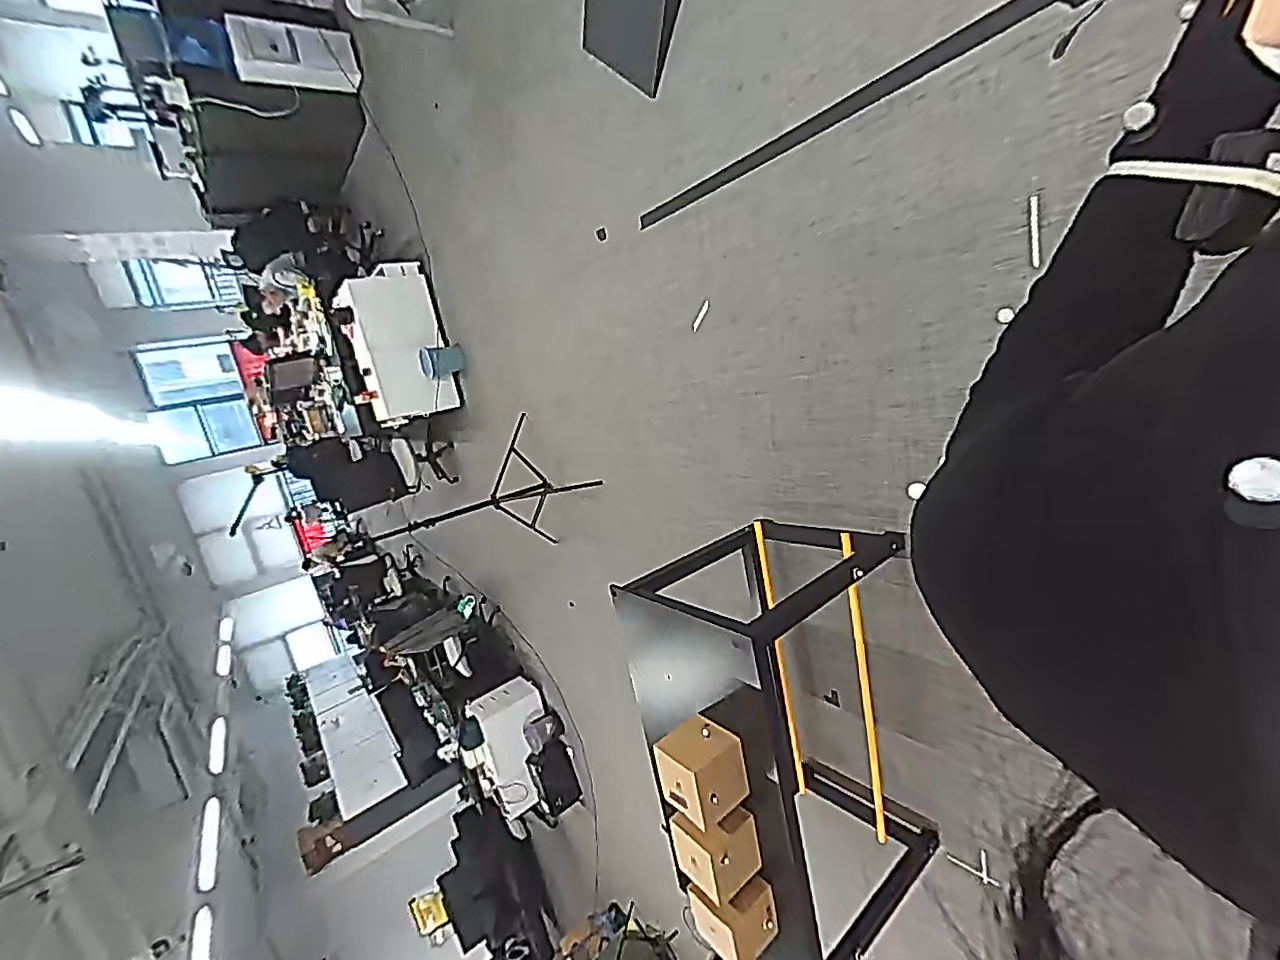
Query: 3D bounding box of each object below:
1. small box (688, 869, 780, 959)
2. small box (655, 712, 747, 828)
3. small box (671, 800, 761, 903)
[{"bbox_3d":[0.267,1.202,1.529,0.179,0.176,0.168,4,111,53],"label":"small box"},{"bbox_3d":[0.166,0.761,1.438,0.168,0.176,0.179,6,111,53],"label":"small box"},{"bbox_3d":[0.212,0.992,1.493,0.168,0.176,0.179,7,112,54],"label":"small box"}]
